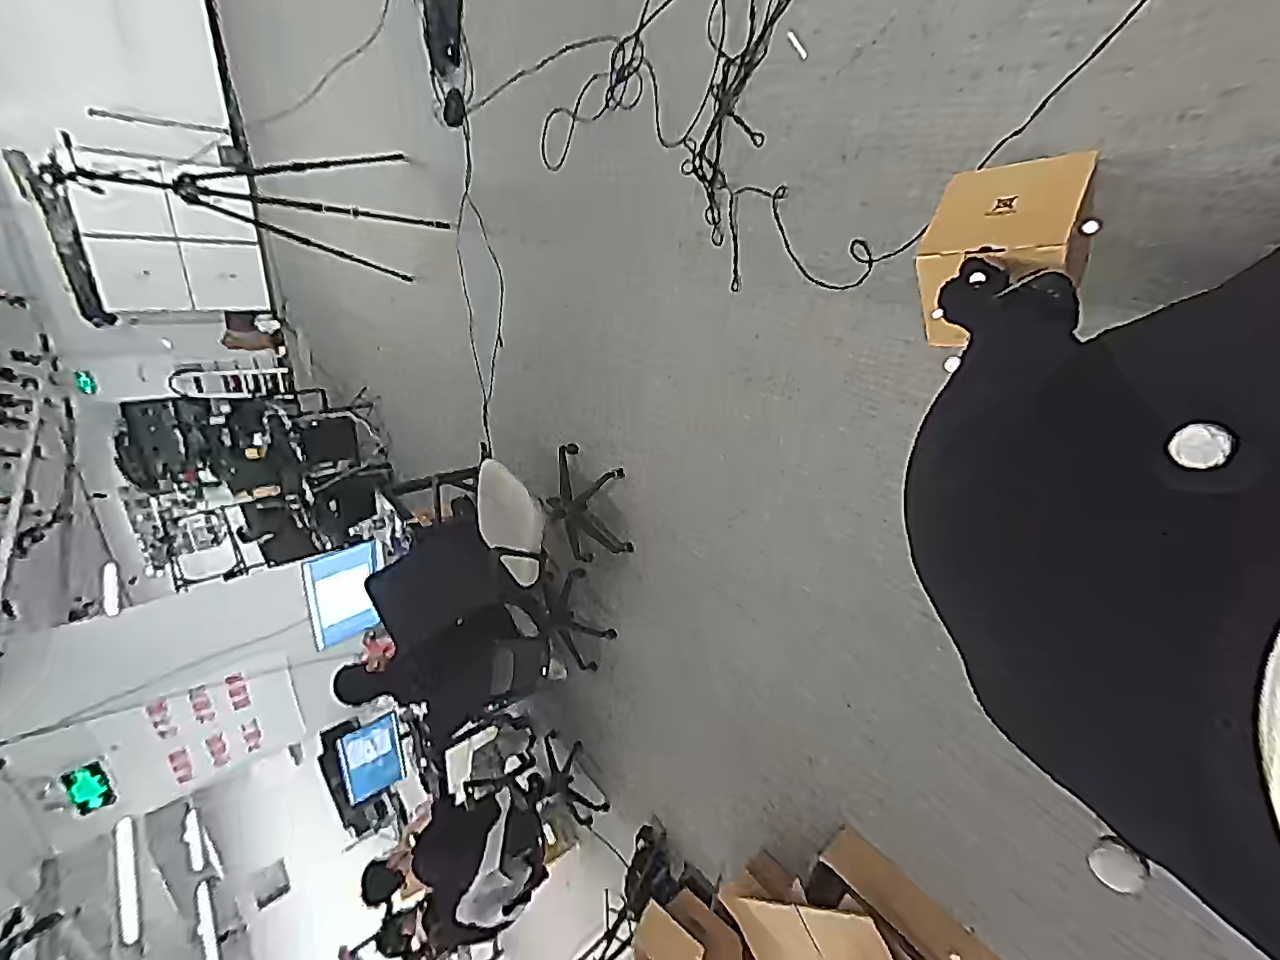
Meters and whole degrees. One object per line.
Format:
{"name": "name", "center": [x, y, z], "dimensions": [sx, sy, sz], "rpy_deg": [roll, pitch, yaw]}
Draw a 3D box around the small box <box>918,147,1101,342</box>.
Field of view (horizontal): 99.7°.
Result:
{"name": "small box", "center": [0.514, -0.320, 0.759], "dimensions": [0.168, 0.179, 0.176], "rpy_deg": [15, 158, 42]}
